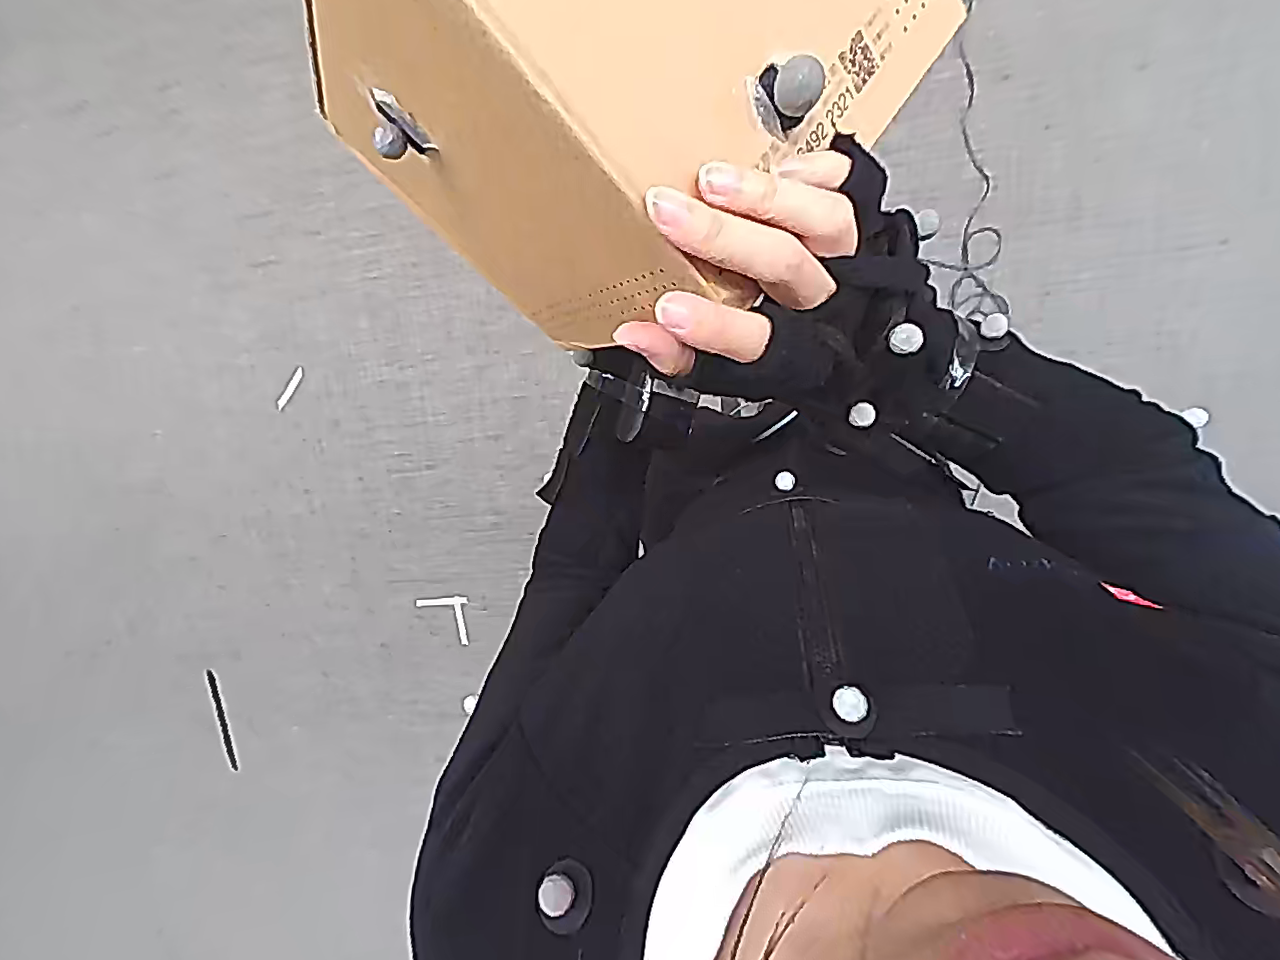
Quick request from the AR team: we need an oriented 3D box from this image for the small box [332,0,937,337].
[{"bbox_3d":[-0.010,-0.184,0.252,0.176,0.179,0.168,40,81,-27],"label":"small box"}]
